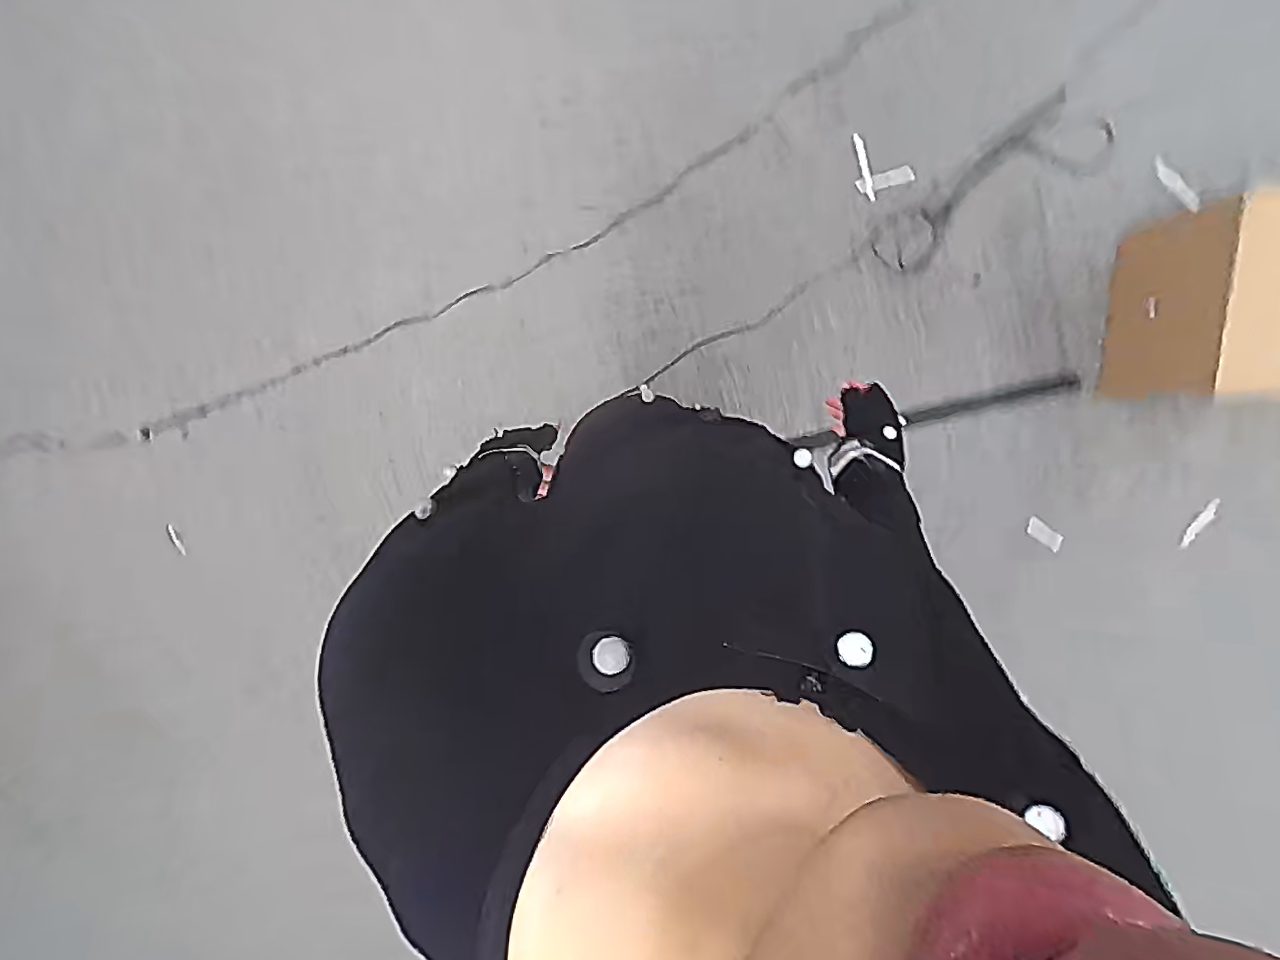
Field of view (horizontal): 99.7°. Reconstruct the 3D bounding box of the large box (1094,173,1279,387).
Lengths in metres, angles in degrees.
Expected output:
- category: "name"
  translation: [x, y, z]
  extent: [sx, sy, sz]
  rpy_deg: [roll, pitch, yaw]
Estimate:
- category: "large box"
  translation: [1.318, -0.423, 1.229]
  extent: [0.320, 0.320, 0.408]
  rpy_deg: [0, 98, 3]
